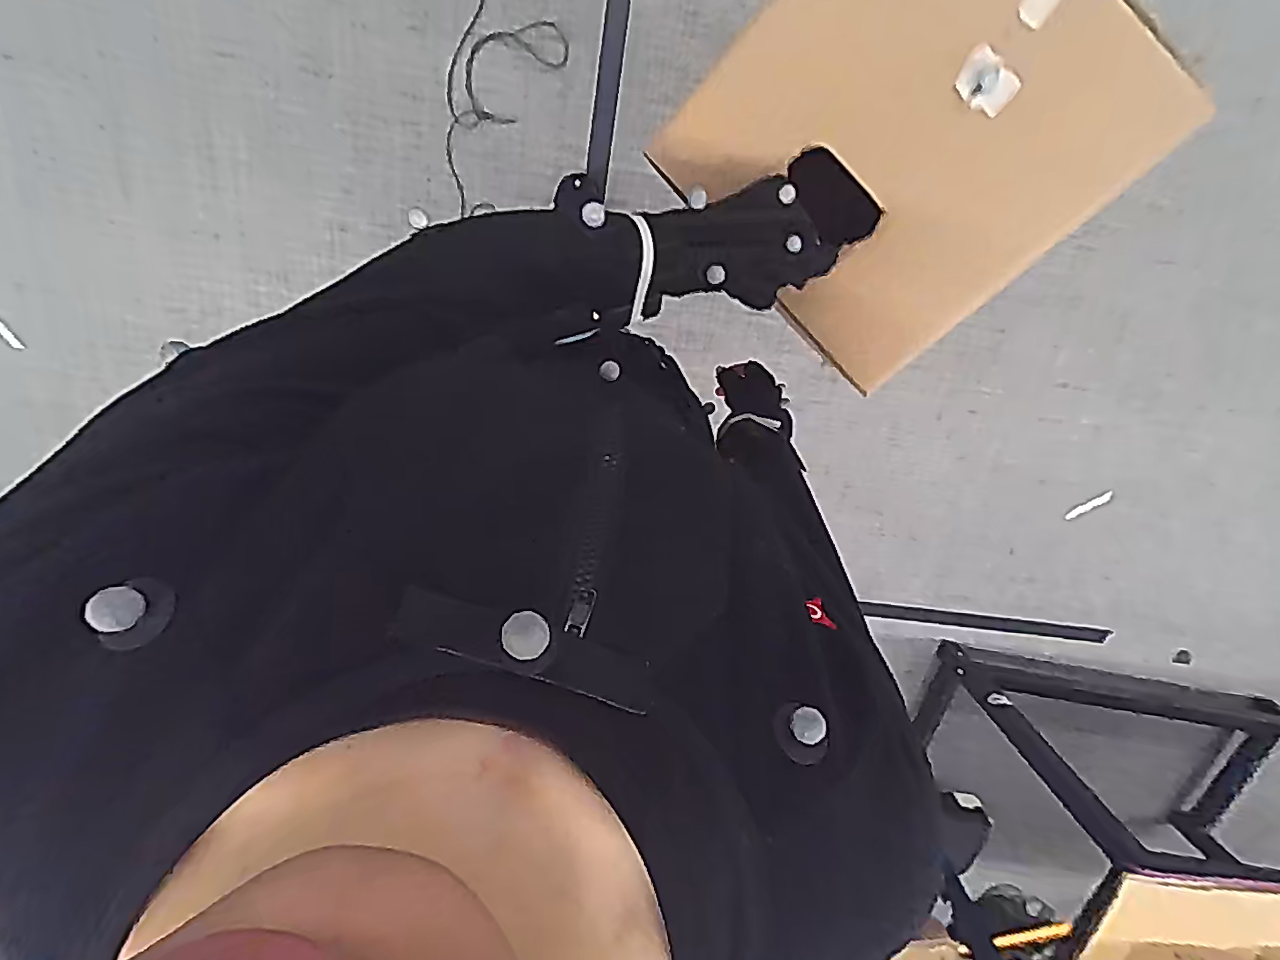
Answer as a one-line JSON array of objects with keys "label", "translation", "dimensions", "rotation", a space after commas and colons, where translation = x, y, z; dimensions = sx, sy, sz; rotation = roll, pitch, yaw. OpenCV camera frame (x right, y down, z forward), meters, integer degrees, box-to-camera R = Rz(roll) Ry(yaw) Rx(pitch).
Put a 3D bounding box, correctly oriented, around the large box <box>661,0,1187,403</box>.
[{"label": "large box", "translation": [0.278, -0.326, 0.644], "dimensions": [0.320, 0.408, 0.320], "rotation": [-40, 91, 22]}]
